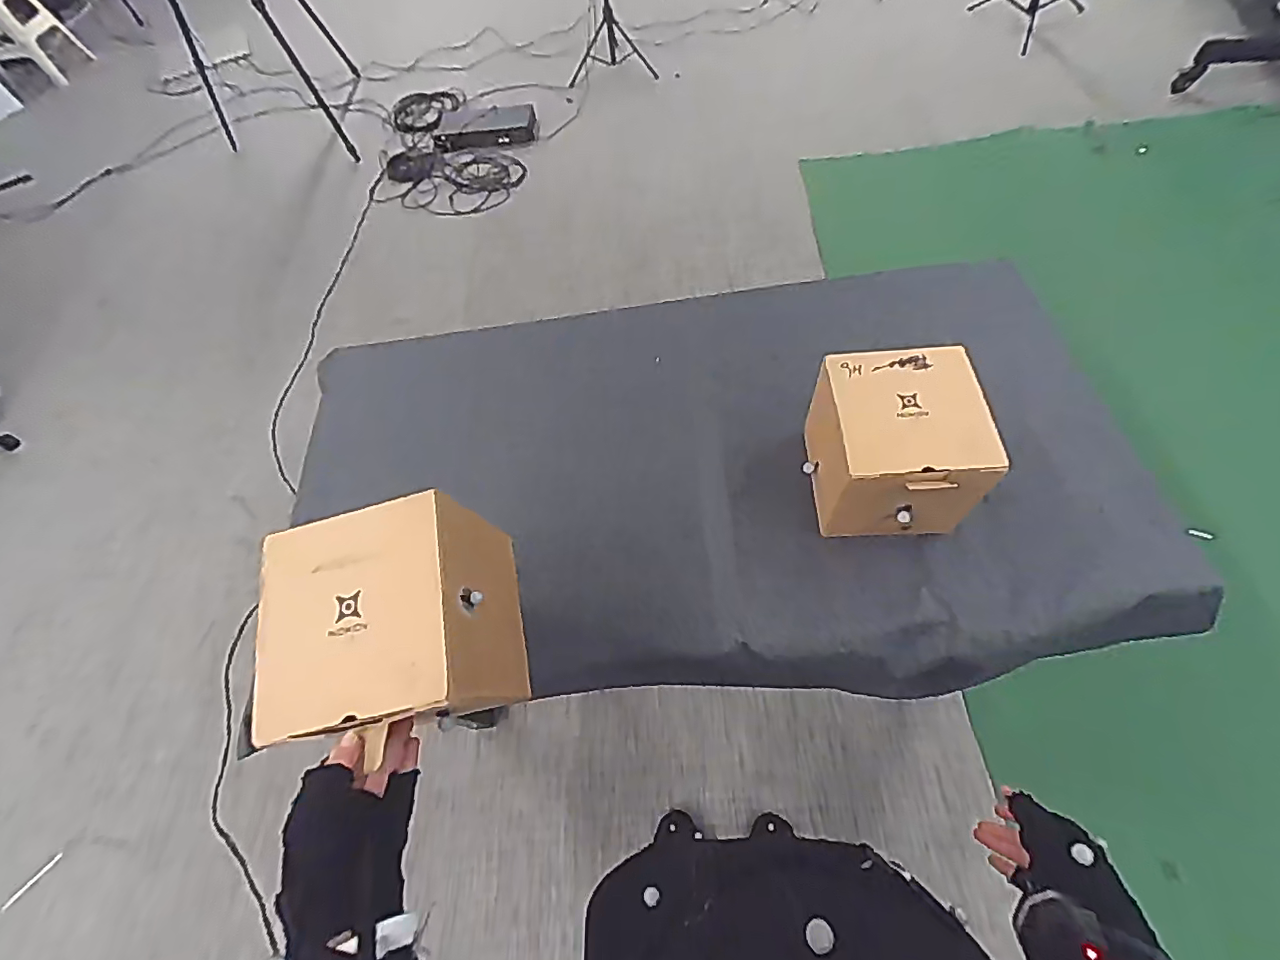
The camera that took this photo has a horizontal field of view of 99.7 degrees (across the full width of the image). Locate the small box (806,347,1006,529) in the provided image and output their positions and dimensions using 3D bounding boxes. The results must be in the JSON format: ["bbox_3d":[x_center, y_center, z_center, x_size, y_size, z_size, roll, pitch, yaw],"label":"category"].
[{"bbox_3d":[0.316,-0.043,0.686,0.168,0.176,0.179,-2,62,5],"label":"small box"}]

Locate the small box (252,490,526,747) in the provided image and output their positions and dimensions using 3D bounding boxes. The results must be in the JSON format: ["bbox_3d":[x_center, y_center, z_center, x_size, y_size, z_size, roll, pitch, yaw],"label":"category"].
[{"bbox_3d":[-0.219,0.133,0.508,0.168,0.176,0.179,-15,67,4],"label":"small box"}]
